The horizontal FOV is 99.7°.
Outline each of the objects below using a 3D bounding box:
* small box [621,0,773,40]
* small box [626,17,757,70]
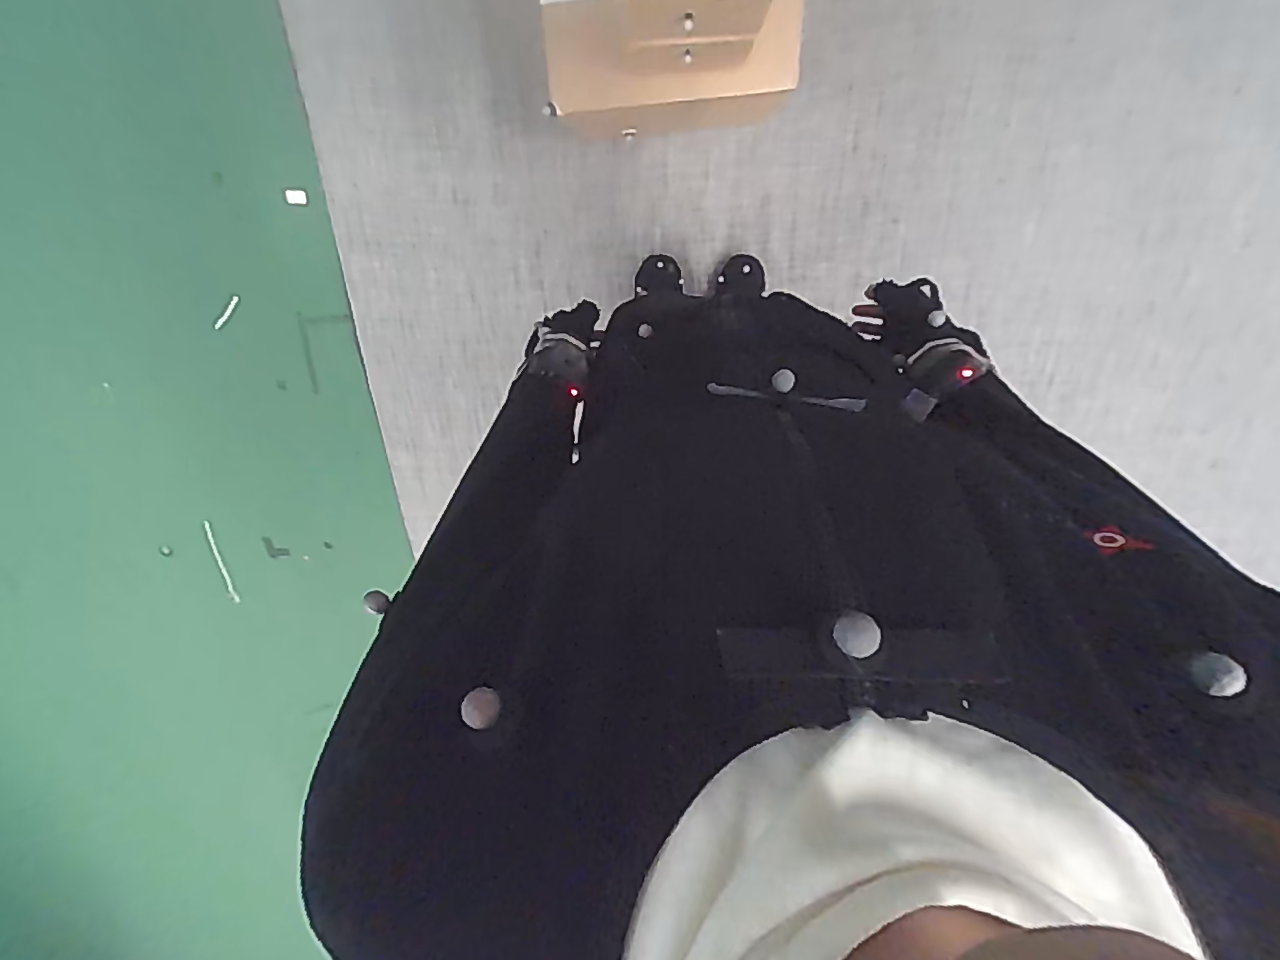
[{"bbox_3d":[0.066,-0.625,0.610,0.179,0.176,0.168,-1,116,5],"label":"small box"},{"bbox_3d":[0.073,-0.696,0.758,0.179,0.176,0.168,0,117,4],"label":"small box"}]
